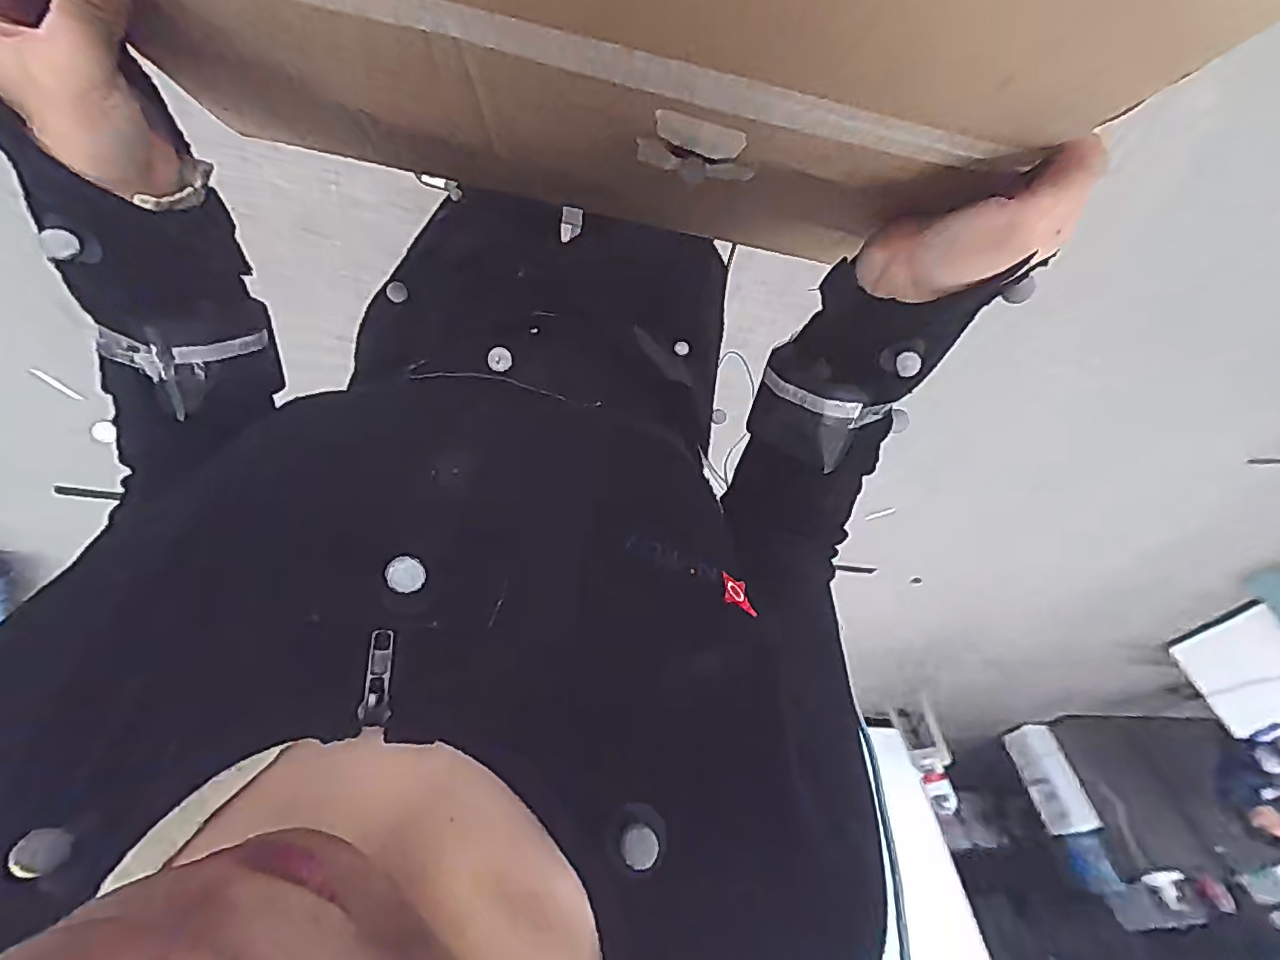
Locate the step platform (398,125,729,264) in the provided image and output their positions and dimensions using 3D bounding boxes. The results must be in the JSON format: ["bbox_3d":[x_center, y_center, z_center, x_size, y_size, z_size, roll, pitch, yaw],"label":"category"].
[{"bbox_3d":[-0.131,-0.709,1.127,0.684,0.204,0.286,13,134,-18],"label":"step platform"}]
